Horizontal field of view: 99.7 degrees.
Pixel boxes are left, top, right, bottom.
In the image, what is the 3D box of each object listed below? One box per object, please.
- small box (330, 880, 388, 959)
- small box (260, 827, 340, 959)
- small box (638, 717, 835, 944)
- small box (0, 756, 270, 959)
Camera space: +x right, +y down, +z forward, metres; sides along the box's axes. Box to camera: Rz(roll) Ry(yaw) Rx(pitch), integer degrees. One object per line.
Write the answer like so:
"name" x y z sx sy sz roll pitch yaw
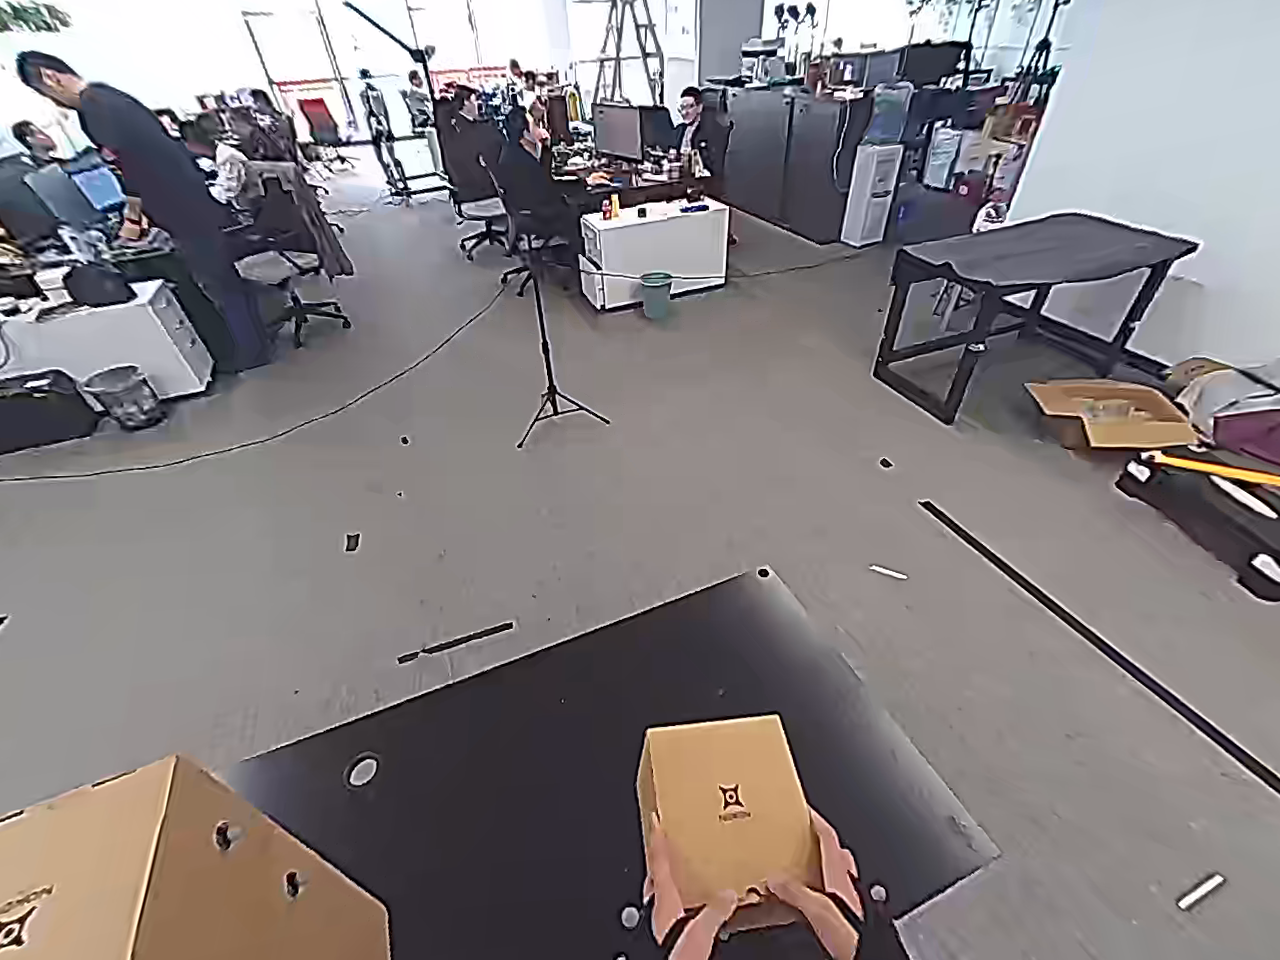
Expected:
"small box" -0.394 0.607 0.612 0.168 0.176 0.179 -18 43 -17
"small box" -0.401 0.479 0.507 0.168 0.176 0.179 -18 42 -16
"small box" 0.093 0.404 0.629 0.168 0.176 0.179 -2 44 -9
"small box" -0.407 0.354 0.403 0.168 0.176 0.179 -19 43 -16
